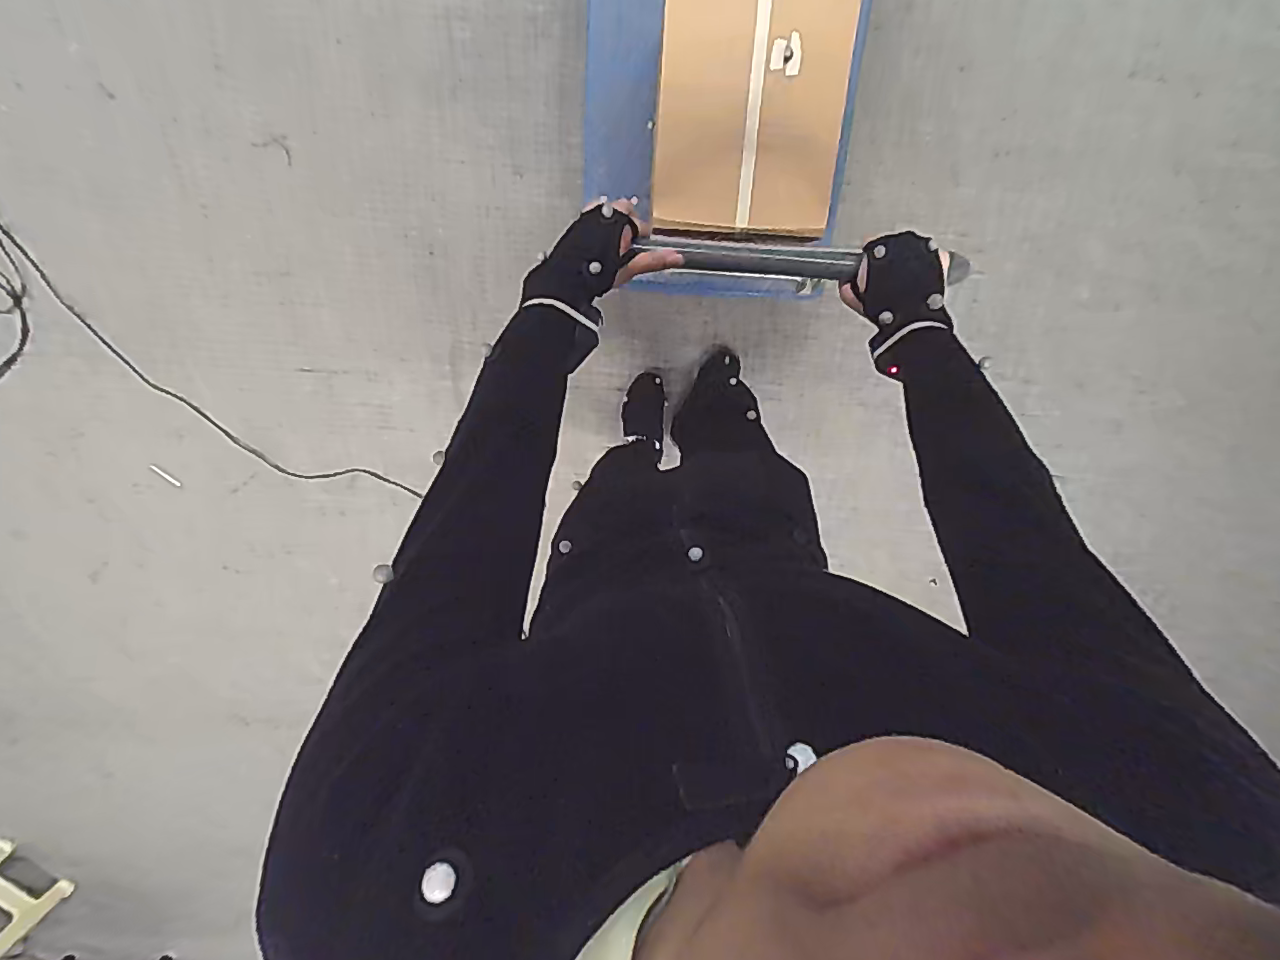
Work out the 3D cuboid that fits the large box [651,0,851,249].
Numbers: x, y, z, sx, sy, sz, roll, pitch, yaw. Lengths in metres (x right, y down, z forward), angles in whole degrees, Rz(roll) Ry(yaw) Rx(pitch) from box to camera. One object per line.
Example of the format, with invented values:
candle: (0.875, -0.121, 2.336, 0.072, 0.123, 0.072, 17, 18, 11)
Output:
large box: (0.184, -0.684, 1.057, 0.320, 0.320, 0.408, 3, 108, -1)
